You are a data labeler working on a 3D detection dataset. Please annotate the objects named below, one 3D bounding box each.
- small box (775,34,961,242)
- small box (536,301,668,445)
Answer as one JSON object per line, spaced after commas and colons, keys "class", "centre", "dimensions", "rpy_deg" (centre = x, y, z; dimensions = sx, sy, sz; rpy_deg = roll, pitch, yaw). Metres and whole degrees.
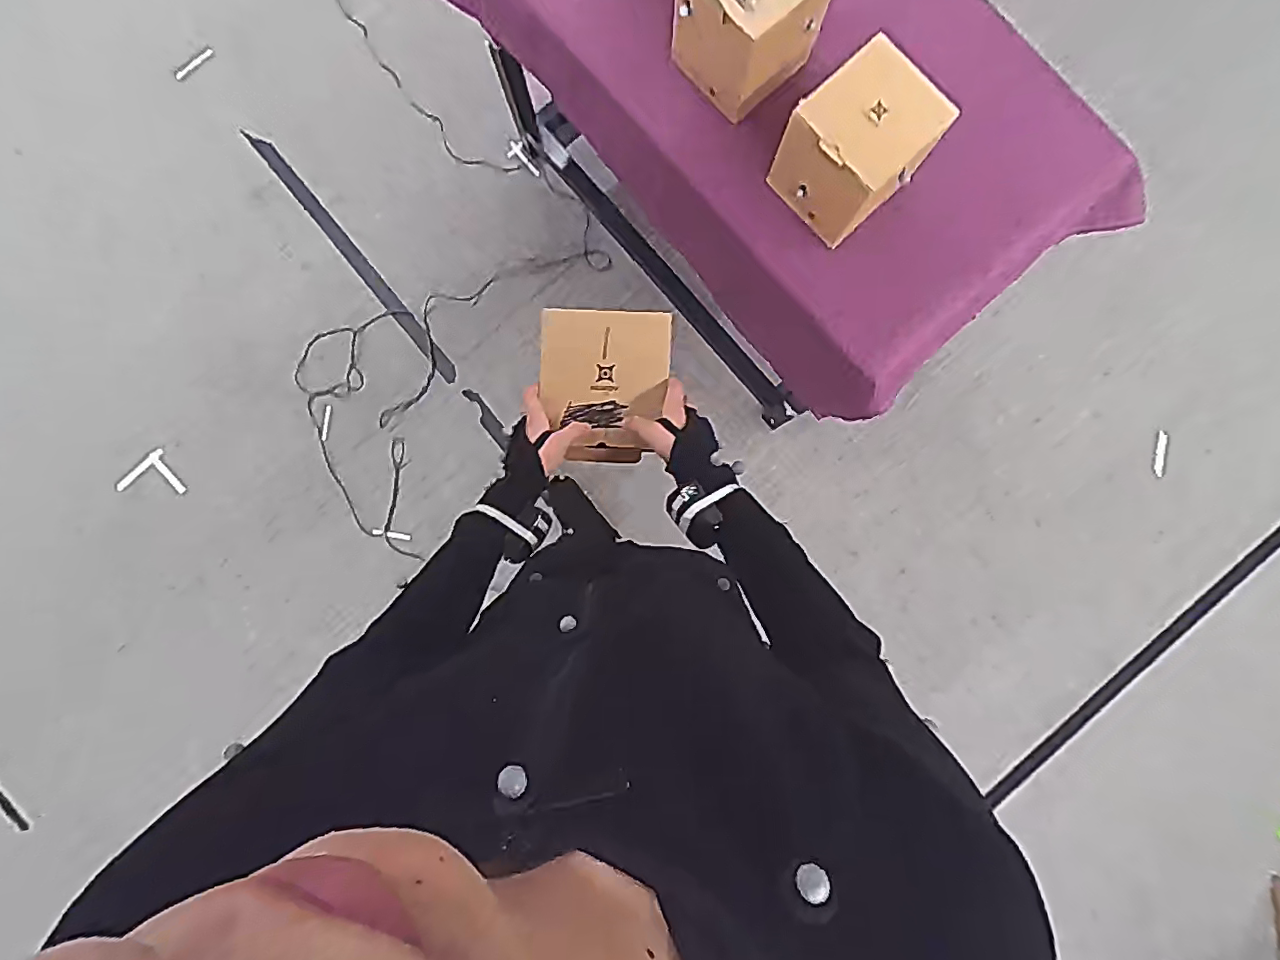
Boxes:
{"class": "small box", "centre": [0.340, -0.519, 0.846], "dimensions": [0.179, 0.176, 0.168], "rpy_deg": [-43, 88, -1]}
{"class": "small box", "centre": [-0.047, -0.141, 0.761], "dimensions": [0.168, 0.176, 0.179], "rpy_deg": [2, 94, 0]}
